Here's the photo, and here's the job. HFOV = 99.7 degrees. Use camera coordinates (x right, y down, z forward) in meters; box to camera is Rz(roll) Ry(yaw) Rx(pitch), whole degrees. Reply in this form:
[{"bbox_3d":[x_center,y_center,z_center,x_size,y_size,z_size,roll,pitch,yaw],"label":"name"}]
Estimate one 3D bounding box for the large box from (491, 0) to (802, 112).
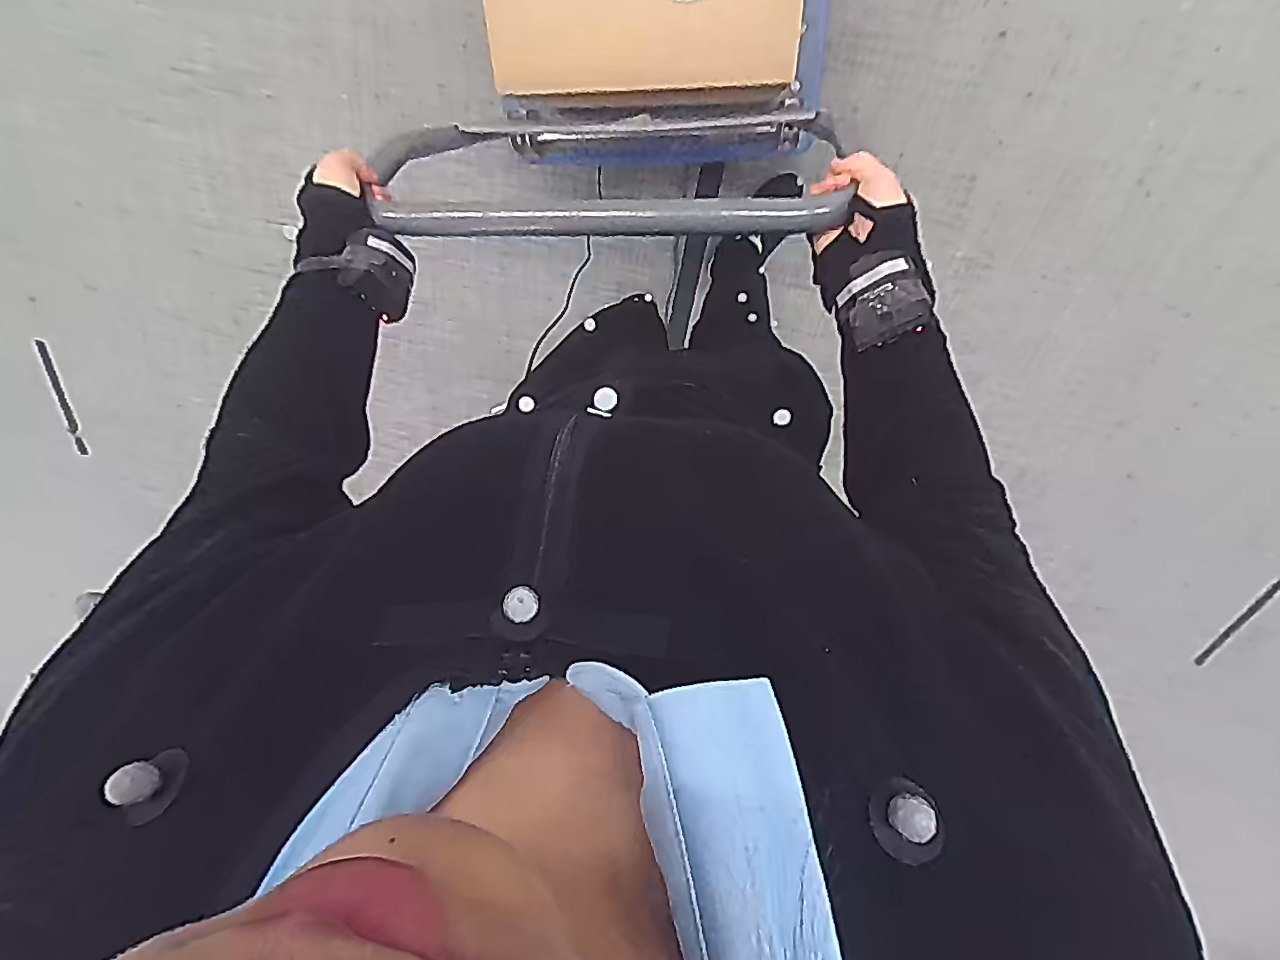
[{"bbox_3d":[0.015,-0.735,0.779,0.408,0.320,0.320,2,123,6],"label":"large box"}]
